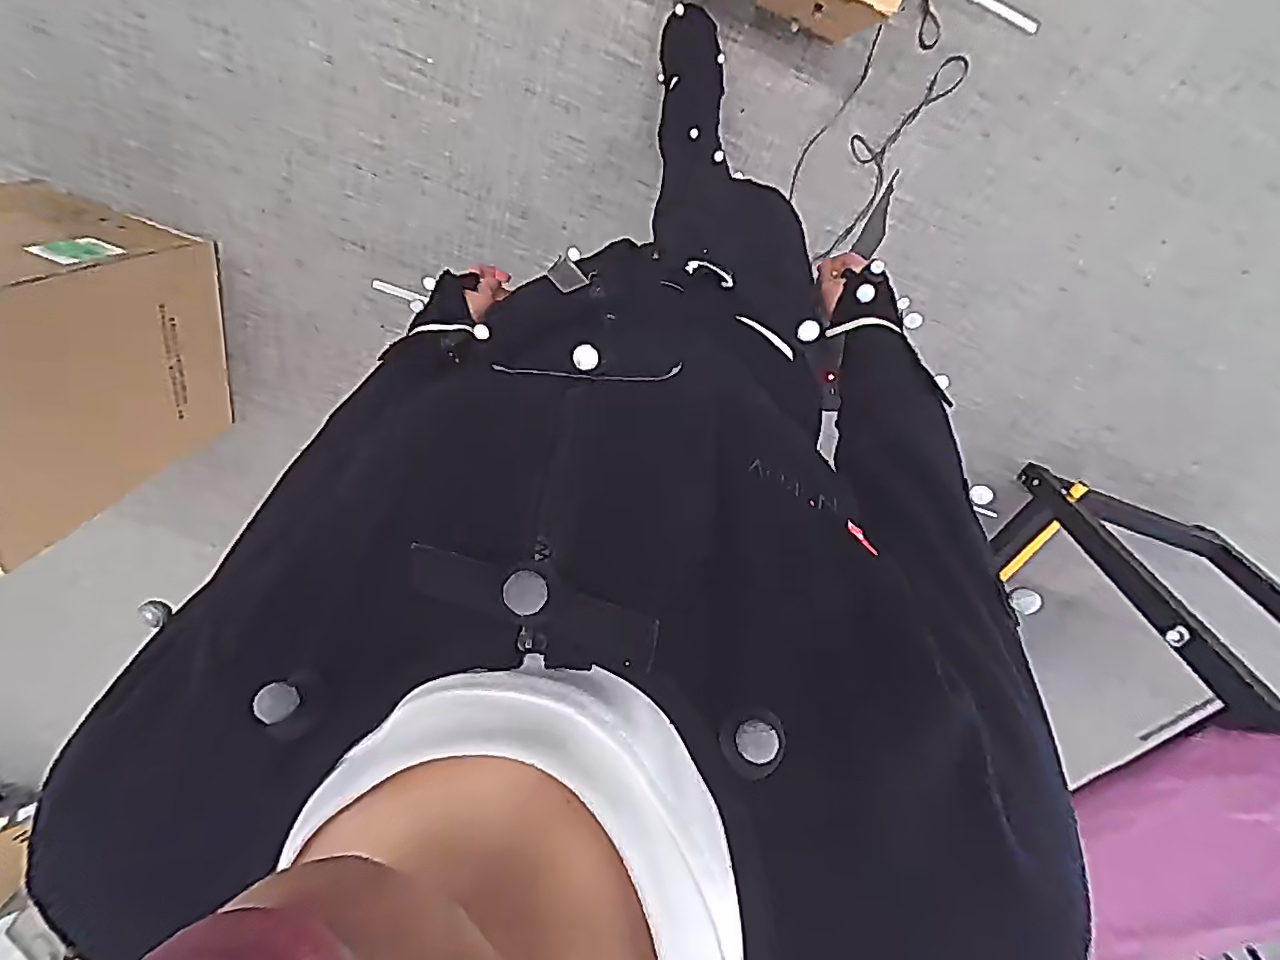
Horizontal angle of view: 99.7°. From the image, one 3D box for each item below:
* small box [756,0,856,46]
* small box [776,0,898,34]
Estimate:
[{"bbox_3d":[0.294,-0.822,0.846,0.168,0.176,0.179,20,124,-7],"label":"small box"},{"bbox_3d":[0.280,-0.730,0.710,0.168,0.176,0.179,19,124,-6],"label":"small box"}]
